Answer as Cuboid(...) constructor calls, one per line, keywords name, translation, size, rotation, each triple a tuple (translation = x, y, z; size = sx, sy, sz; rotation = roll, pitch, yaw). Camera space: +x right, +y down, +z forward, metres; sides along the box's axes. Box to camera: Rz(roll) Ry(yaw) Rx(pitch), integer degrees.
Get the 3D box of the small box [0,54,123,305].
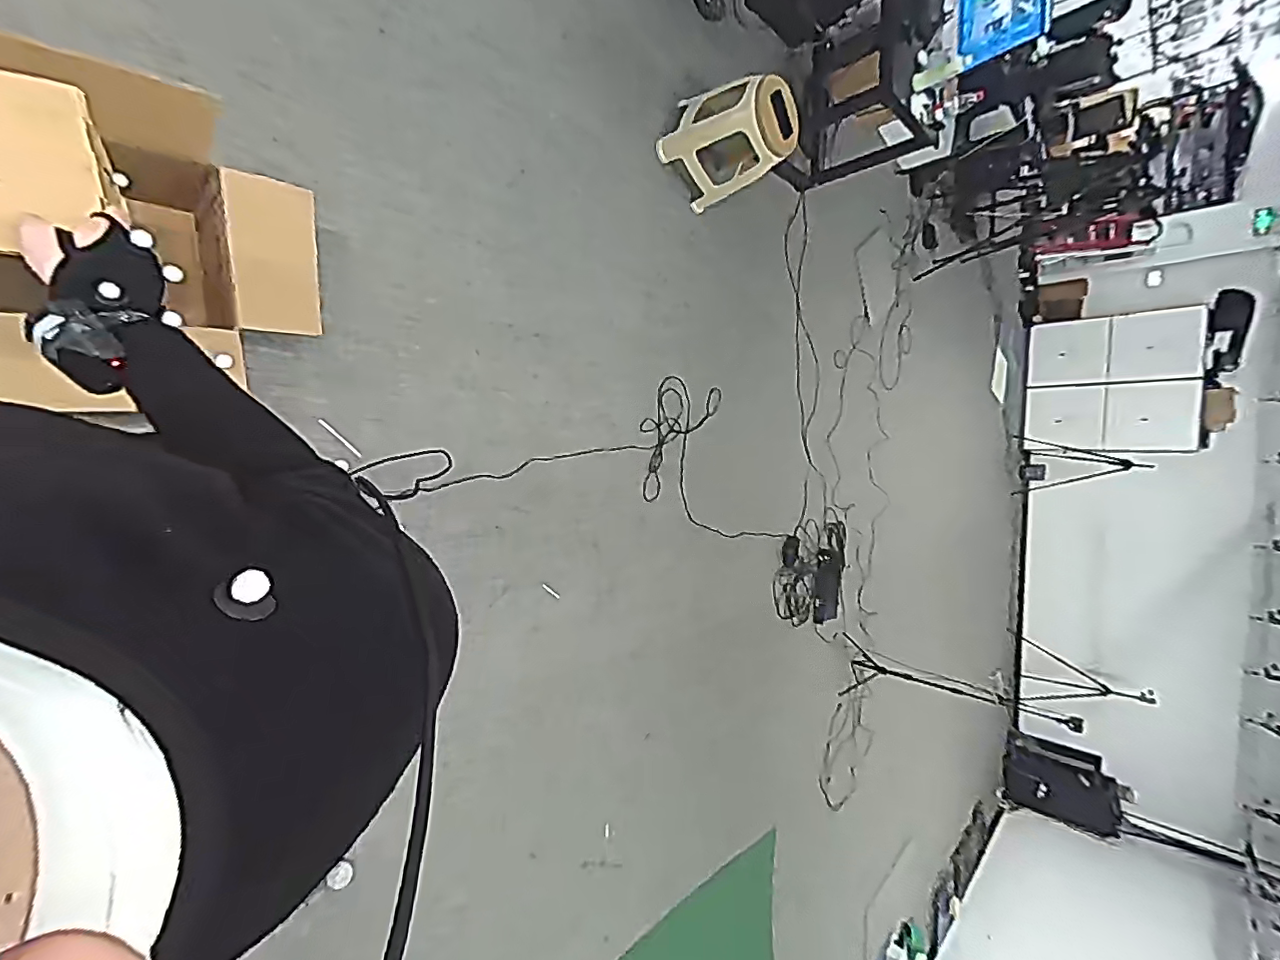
Cuboid(name="small box", translation=(-0.620, -0.275, 0.507), size=(0.179, 0.176, 0.168), rotation=(-9, 89, -36))
